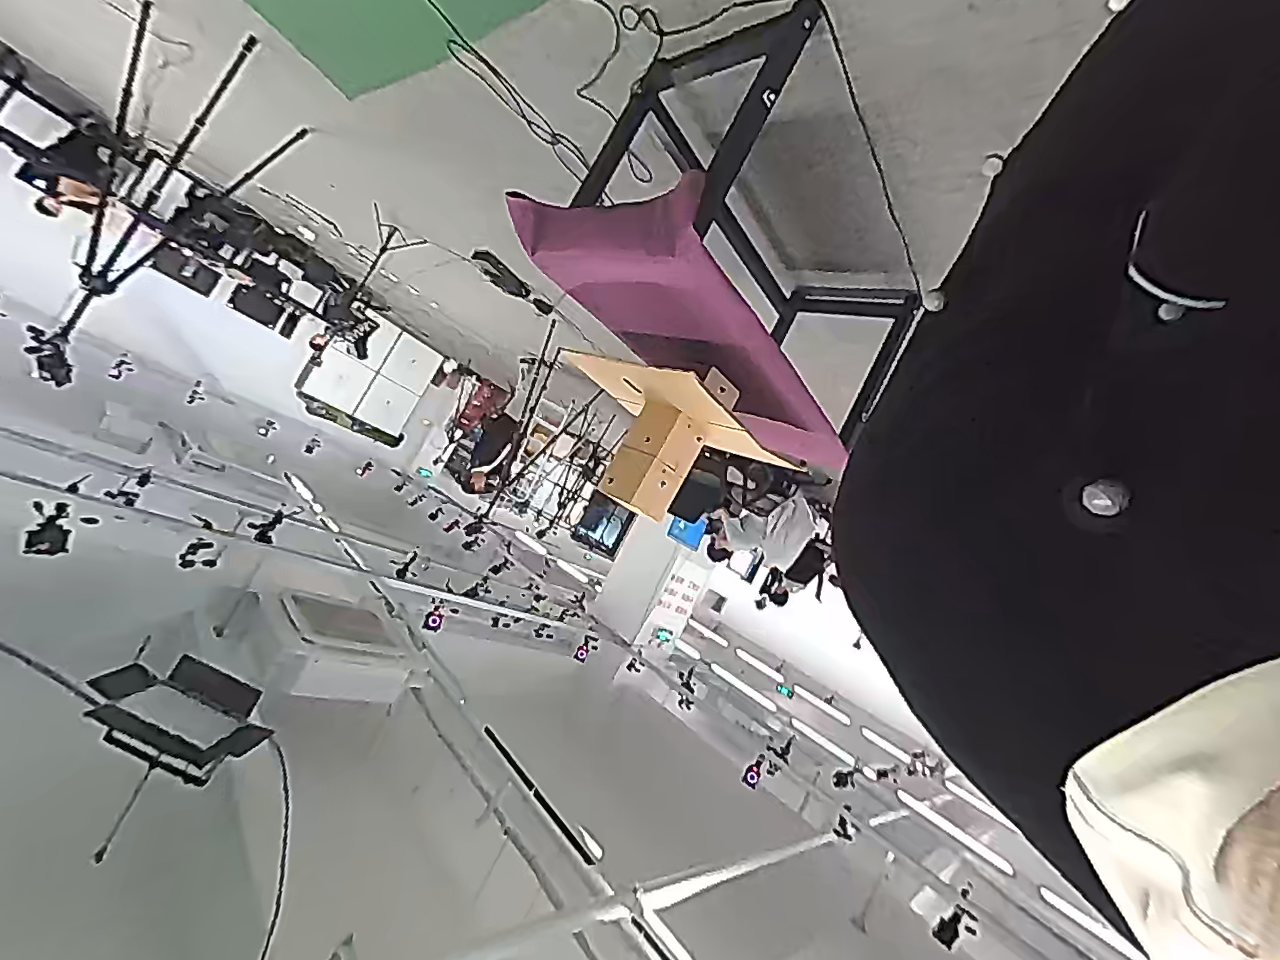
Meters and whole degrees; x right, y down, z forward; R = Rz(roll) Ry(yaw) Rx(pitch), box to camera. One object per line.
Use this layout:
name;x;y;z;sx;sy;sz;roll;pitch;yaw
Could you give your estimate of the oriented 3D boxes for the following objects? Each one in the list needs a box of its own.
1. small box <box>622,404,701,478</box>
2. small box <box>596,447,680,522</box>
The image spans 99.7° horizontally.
small box;0.079;-0.132;1.772;0.179;0.176;0.168;23;171;46
small box;-0.002;0.010;1.757;0.179;0.176;0.168;22;170;45
